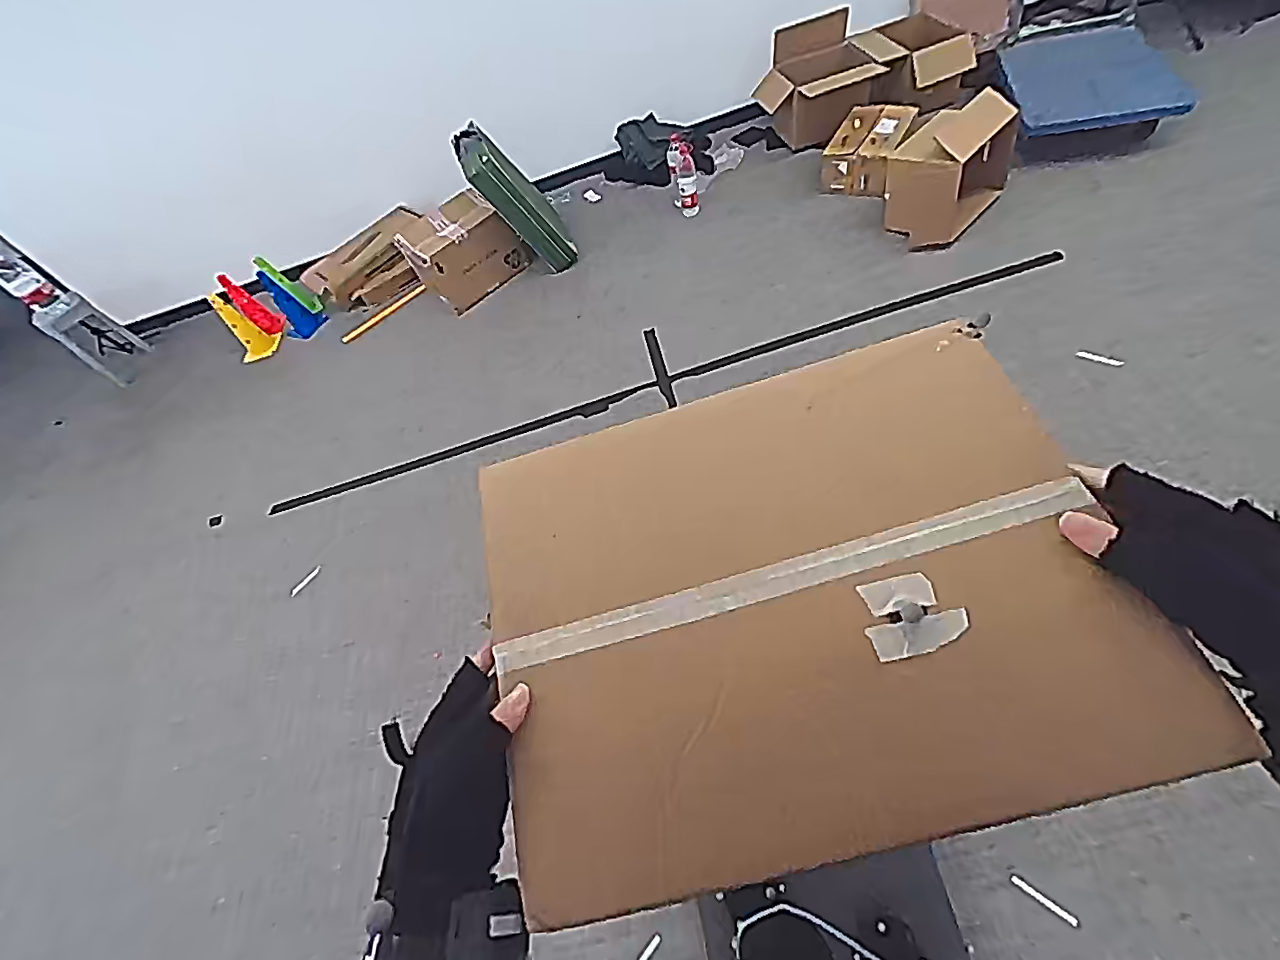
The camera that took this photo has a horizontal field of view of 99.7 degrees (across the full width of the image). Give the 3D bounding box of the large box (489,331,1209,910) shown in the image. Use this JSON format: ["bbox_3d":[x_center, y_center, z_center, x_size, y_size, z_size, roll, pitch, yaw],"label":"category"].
[{"bbox_3d":[0.122,0.132,0.510,0.408,0.320,0.320,-17,63,4],"label":"large box"}]
